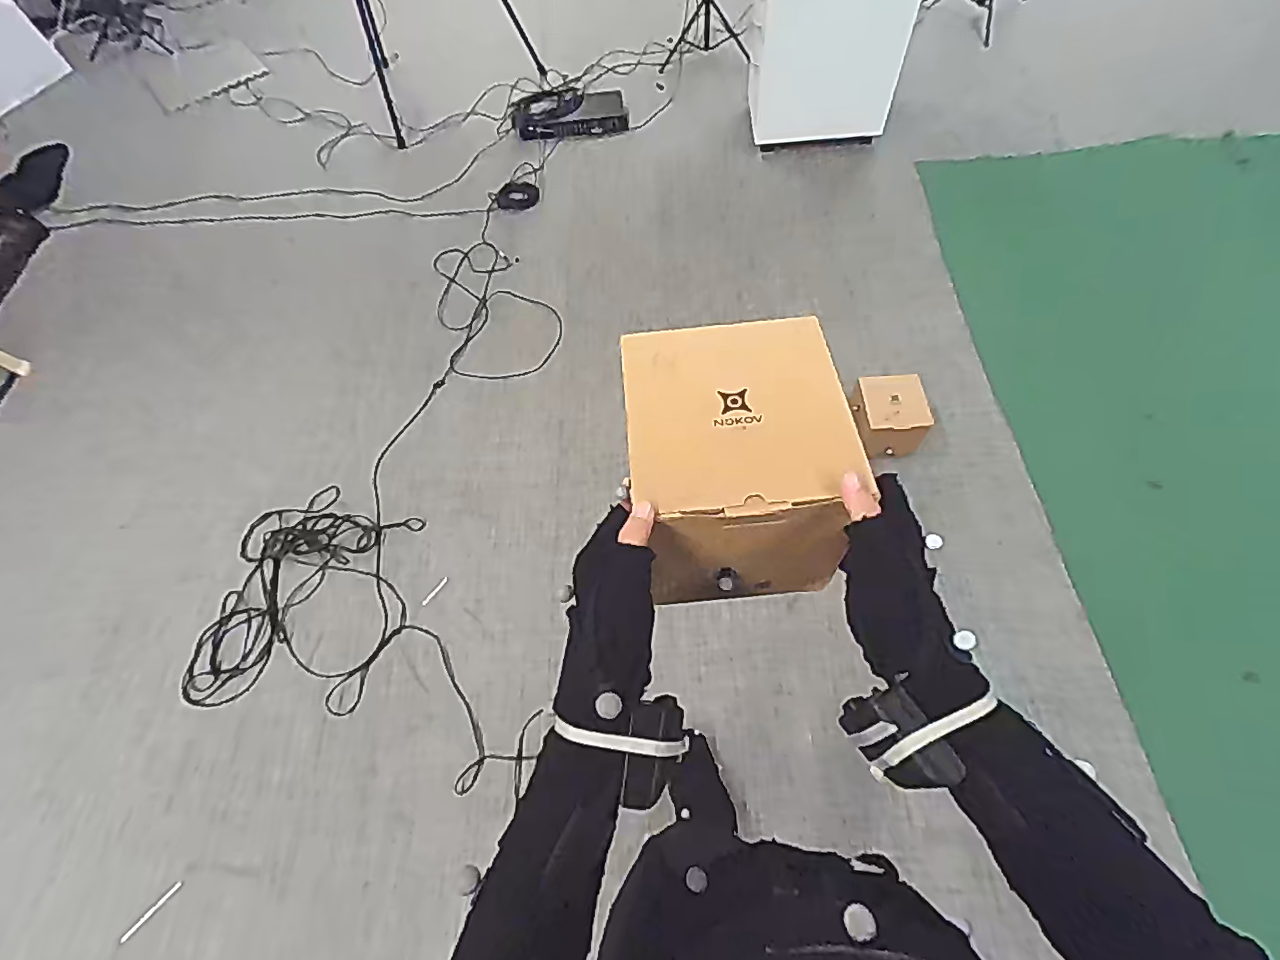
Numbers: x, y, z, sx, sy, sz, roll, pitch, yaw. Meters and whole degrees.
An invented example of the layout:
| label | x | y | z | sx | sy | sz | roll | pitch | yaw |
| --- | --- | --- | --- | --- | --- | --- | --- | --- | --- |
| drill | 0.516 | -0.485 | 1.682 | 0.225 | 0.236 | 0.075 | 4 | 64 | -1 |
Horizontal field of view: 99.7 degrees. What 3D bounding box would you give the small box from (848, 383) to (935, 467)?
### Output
| label | x | y | z | sx | sy | sz | roll | pitch | yaw |
| --- | --- | --- | --- | --- | --- | --- | --- | --- | --- |
| small box | 0.709 | -0.155 | 1.547 | 0.168 | 0.176 | 0.179 | -3 | 62 | 5 |
